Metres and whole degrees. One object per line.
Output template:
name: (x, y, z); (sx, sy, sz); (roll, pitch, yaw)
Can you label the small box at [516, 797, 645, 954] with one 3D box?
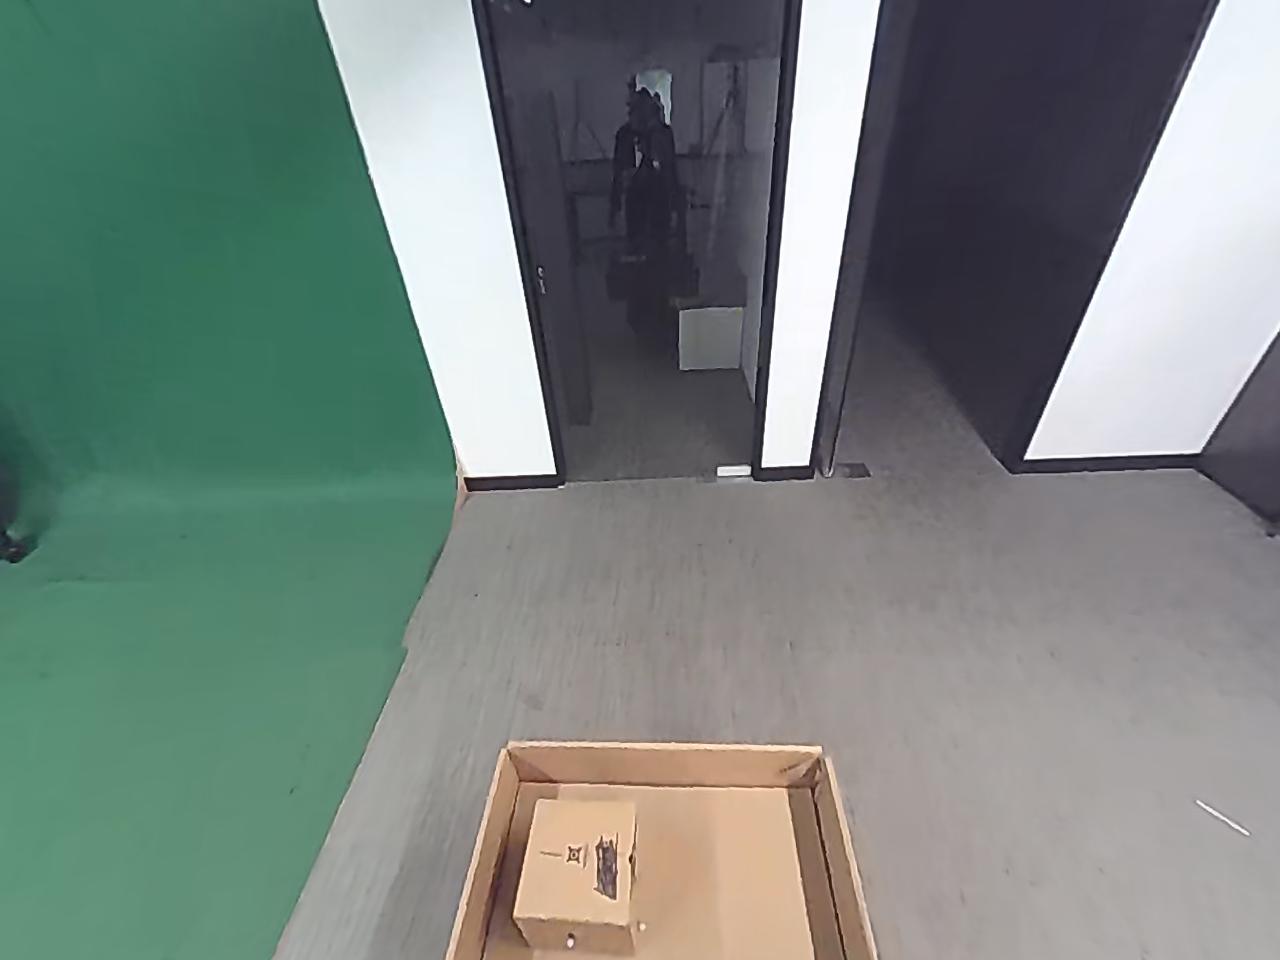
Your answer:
small box: (-0.086, 0.653, 0.894); (0.179, 0.176, 0.168); (-1, 36, 6)
